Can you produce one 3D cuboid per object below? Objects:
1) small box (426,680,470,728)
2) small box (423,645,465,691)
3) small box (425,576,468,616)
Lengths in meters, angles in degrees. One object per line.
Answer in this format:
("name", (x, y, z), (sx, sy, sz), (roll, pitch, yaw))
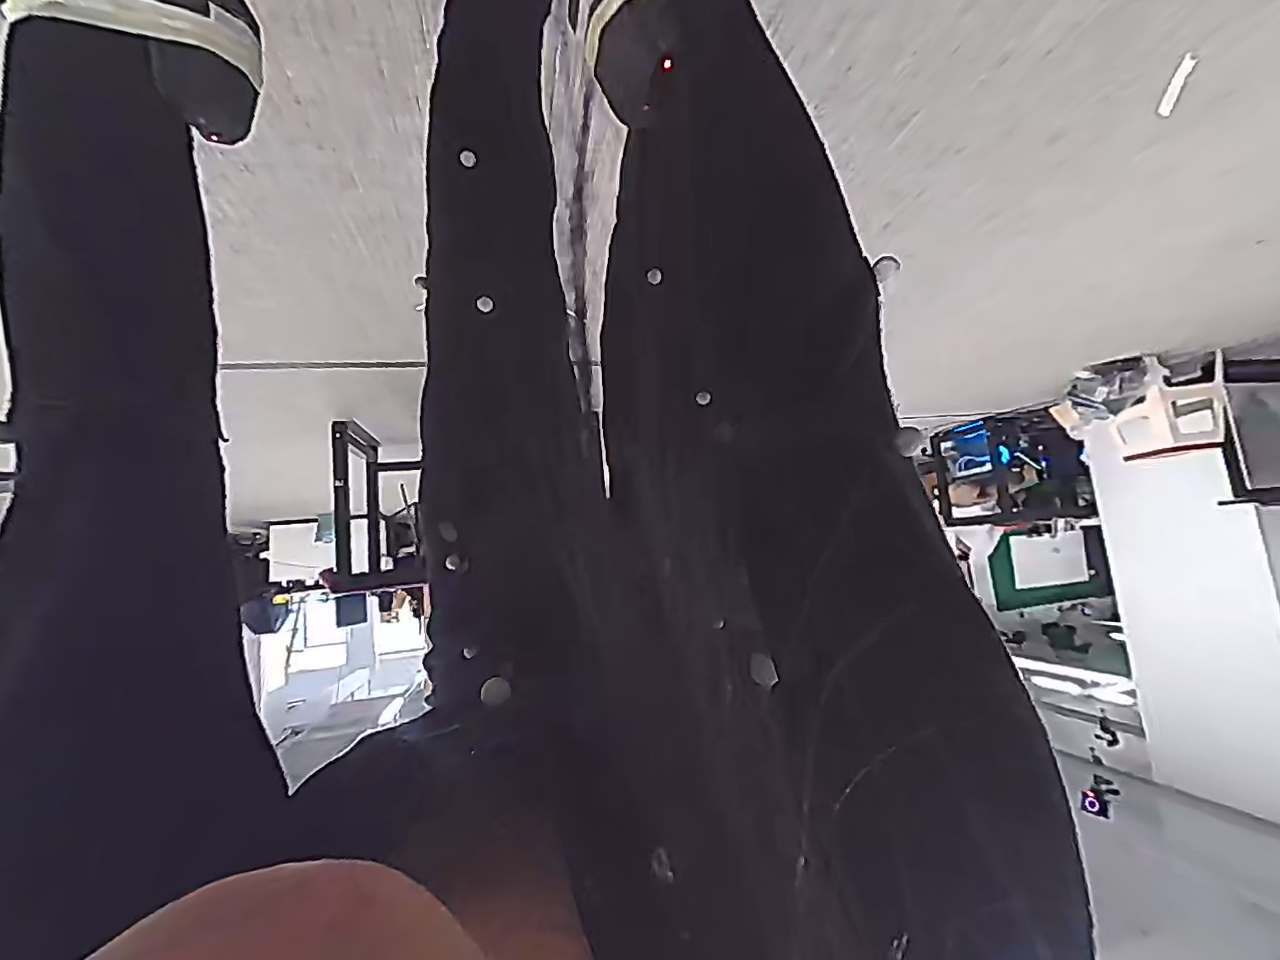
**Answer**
("small box", (-0.893, 1.036, 2.517), (0.179, 0.176, 0.168), (-4, 172, -12))
("small box", (-0.912, 0.873, 2.526), (0.168, 0.176, 0.179), (-4, 172, -12))
("small box", (-0.922, 0.549, 2.575), (0.179, 0.176, 0.168), (-4, 173, -13))
